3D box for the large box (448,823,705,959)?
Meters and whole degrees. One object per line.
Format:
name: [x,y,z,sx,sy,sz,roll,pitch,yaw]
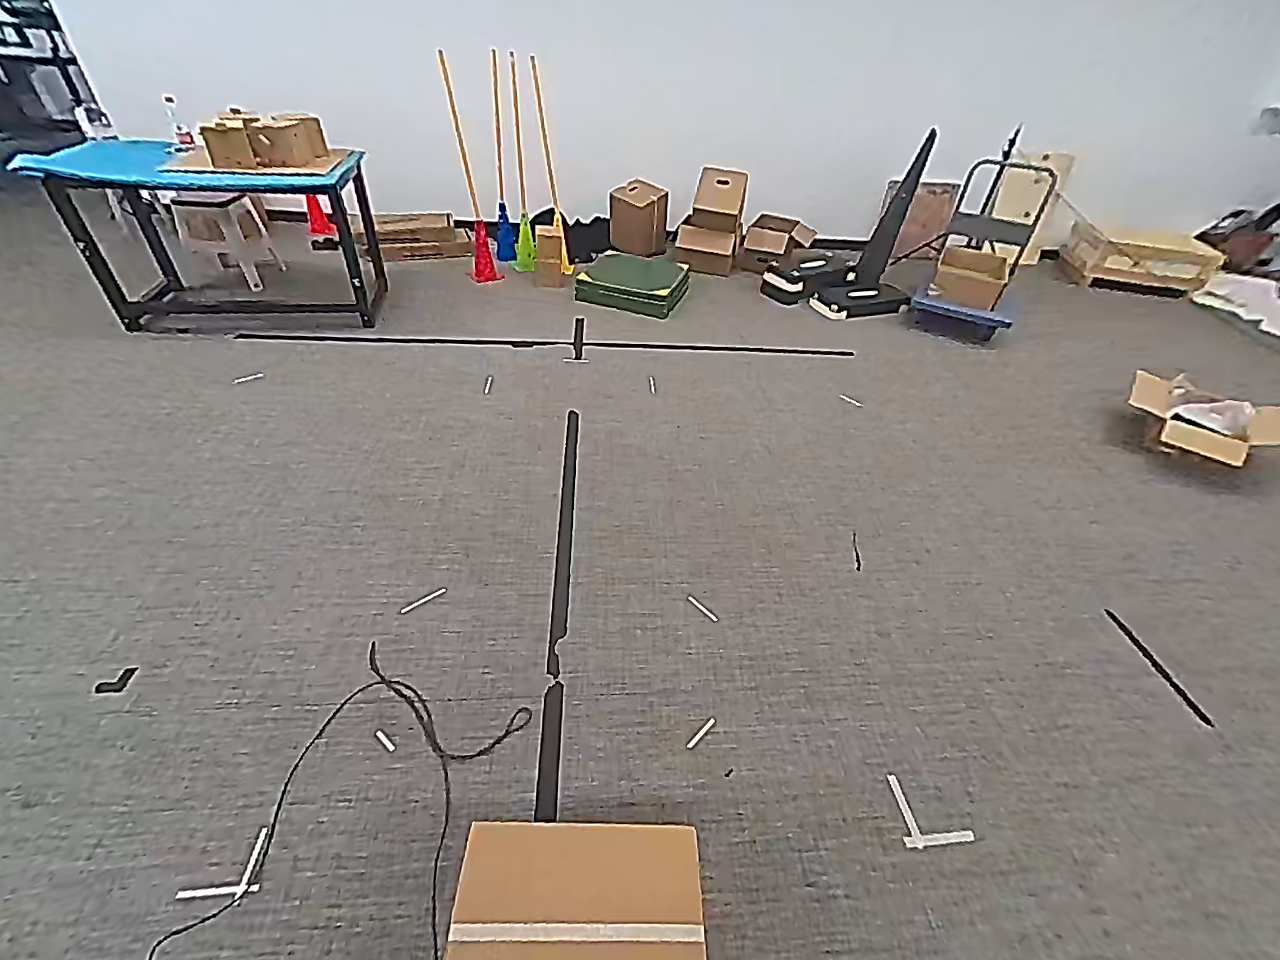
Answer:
large box: [-0.109,0.834,0.951,0.408,0.320,0.320,3,41,-3]
